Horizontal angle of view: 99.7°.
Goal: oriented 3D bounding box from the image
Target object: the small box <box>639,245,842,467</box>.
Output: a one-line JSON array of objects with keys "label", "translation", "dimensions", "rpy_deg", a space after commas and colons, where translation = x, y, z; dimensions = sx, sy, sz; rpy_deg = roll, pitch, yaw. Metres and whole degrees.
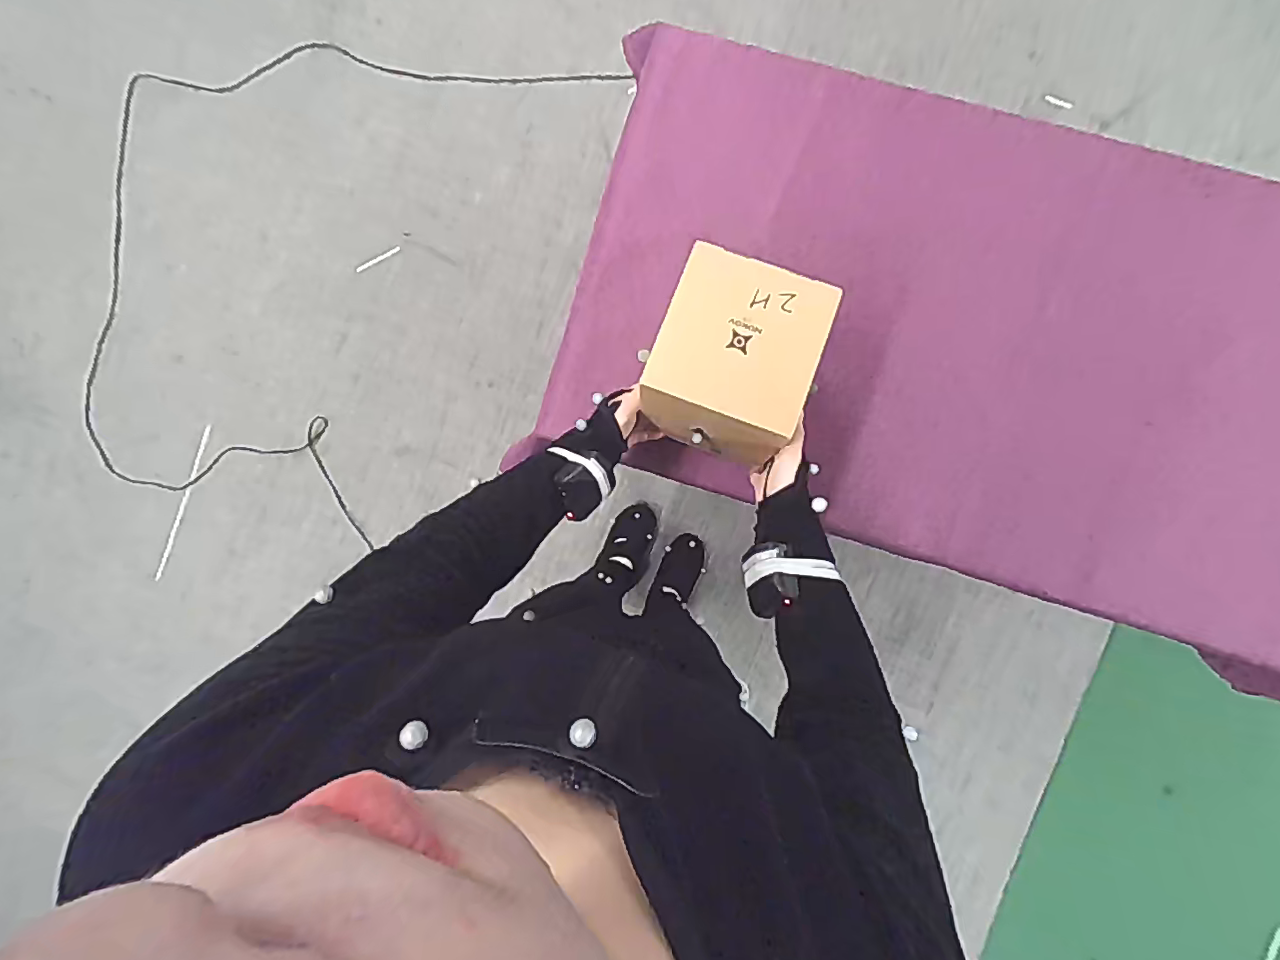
[{"label": "small box", "translation": [0.107, -0.130, 0.636], "dimensions": [0.168, 0.176, 0.179], "rpy_deg": [21, 81, 3]}]
